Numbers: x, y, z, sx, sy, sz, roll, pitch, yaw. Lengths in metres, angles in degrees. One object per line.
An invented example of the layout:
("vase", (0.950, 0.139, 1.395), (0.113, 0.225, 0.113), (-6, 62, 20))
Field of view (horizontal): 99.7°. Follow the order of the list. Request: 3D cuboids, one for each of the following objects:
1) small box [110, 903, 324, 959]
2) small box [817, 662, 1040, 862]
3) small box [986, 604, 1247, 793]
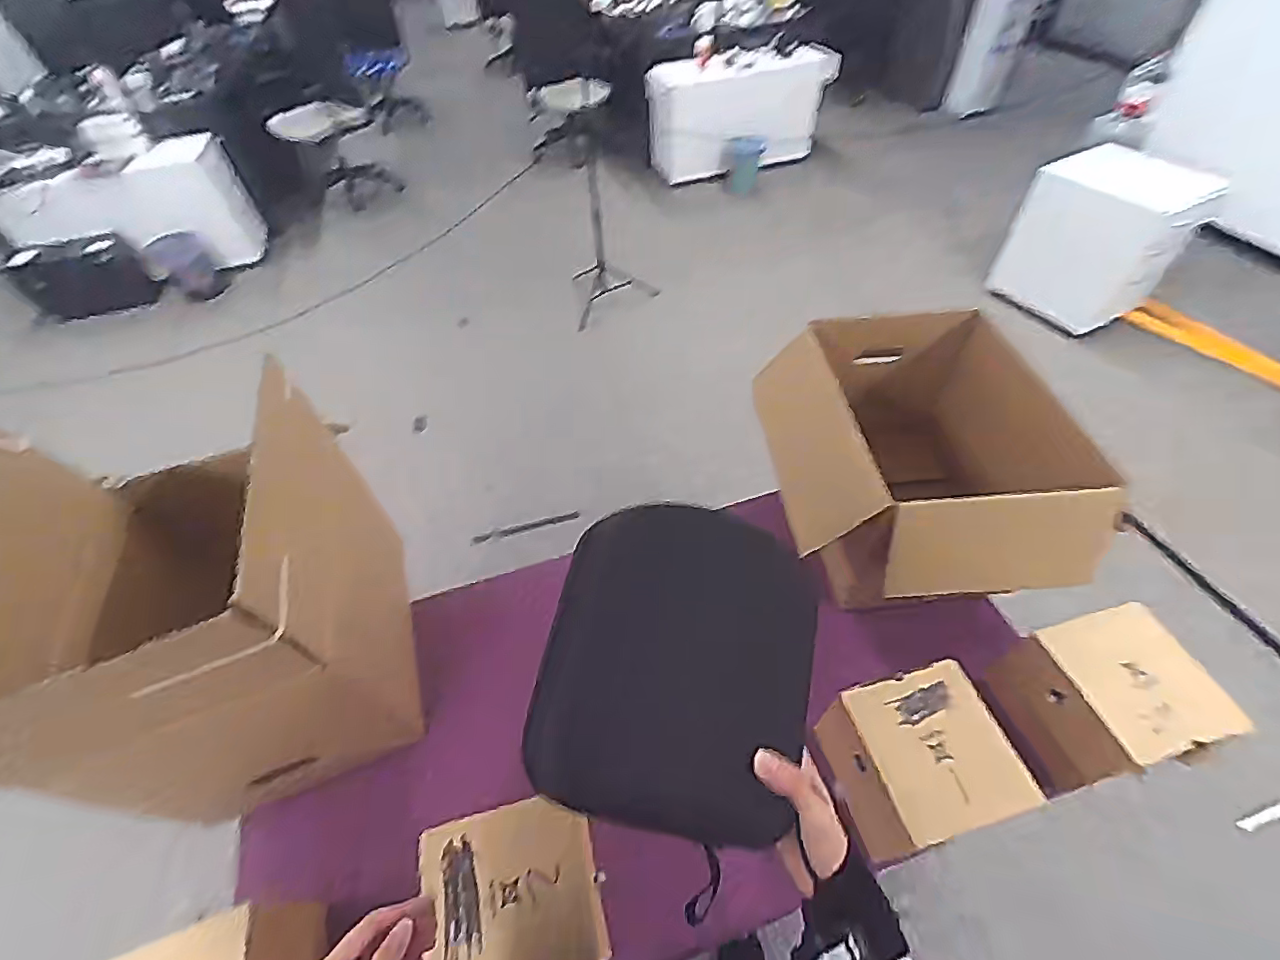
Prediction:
("small box", (-0.471, 0.592, 0.579), (0.179, 0.176, 0.168), (-17, 51, -12))
("small box", (0.355, 0.371, 0.710), (0.168, 0.176, 0.179), (-14, 51, -7))
("small box", (0.629, 0.303, 0.747), (0.168, 0.176, 0.179), (-13, 50, -7))
